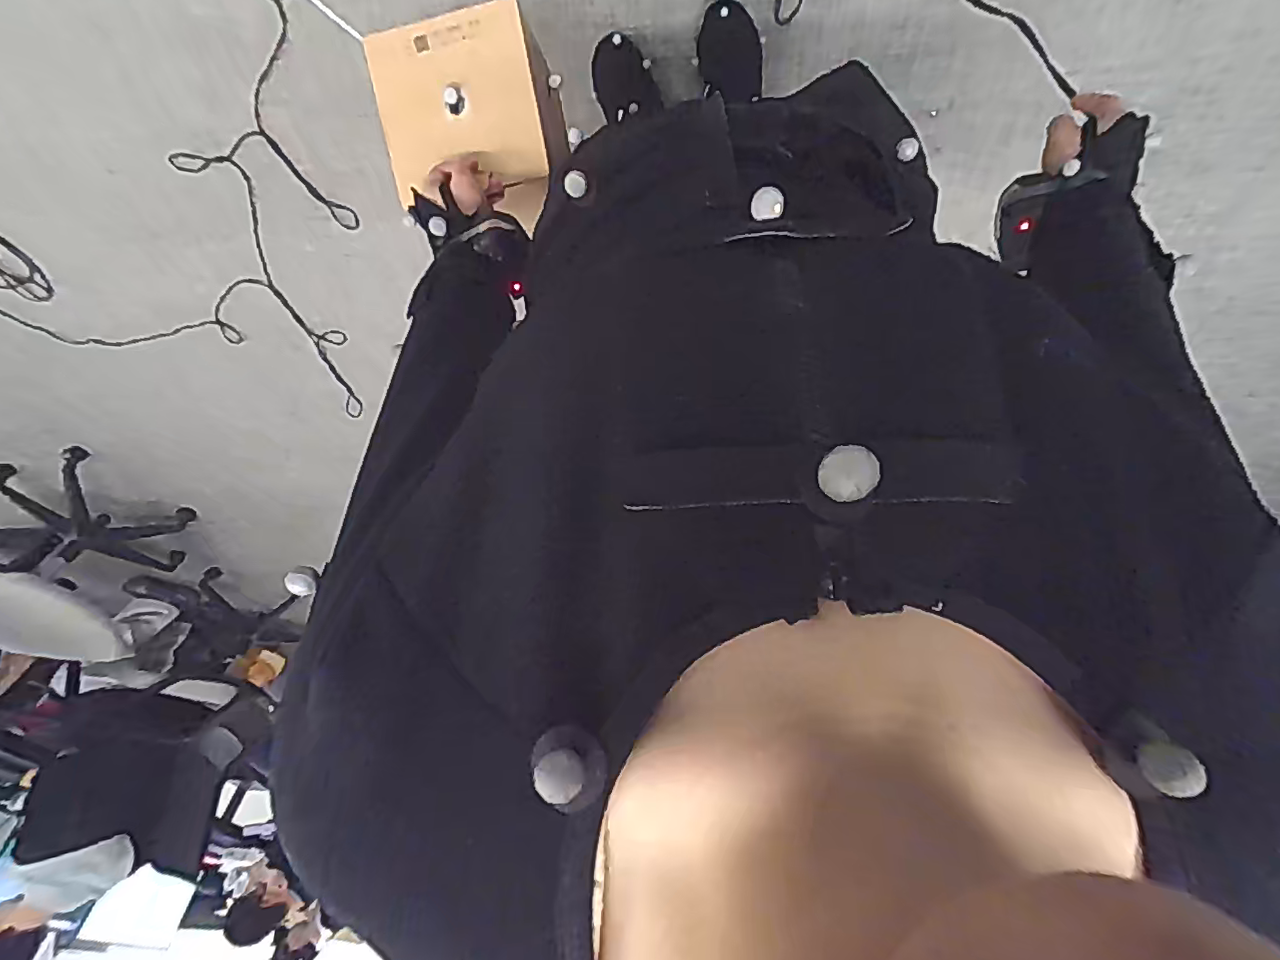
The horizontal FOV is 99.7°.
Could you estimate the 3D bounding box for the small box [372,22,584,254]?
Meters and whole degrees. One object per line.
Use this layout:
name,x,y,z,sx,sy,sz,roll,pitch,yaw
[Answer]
small box,-0.178,-0.389,0.633,0.168,0.179,0.176,-11,100,8
